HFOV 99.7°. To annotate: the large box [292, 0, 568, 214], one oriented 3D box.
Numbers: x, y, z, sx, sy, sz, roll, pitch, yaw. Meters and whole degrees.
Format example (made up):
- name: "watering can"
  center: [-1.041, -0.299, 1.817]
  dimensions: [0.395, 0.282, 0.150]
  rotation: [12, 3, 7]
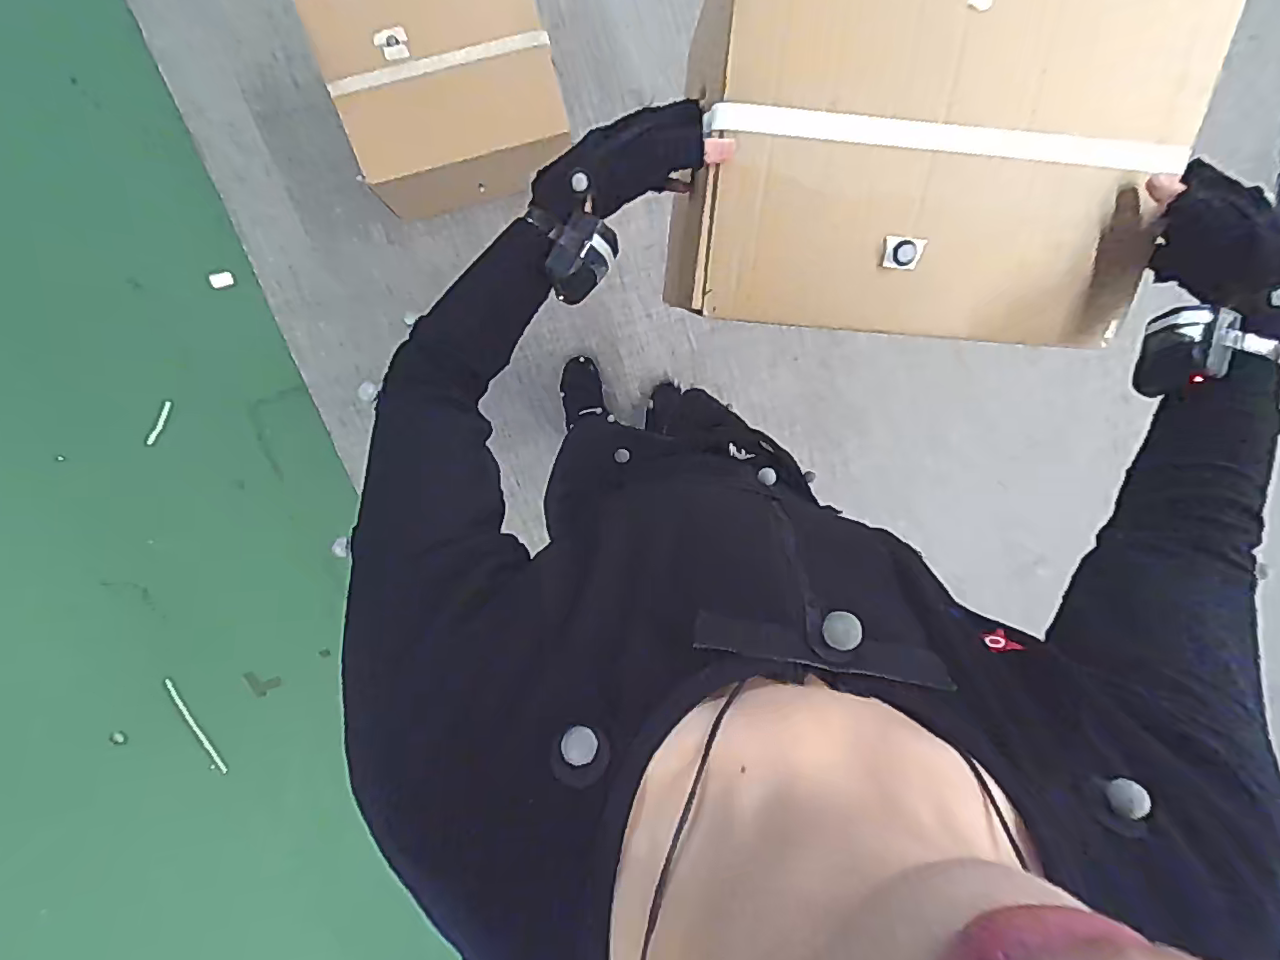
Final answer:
- name: "large box"
  center: [-0.392, -0.793, 1.117]
  dimensions: [0.408, 0.320, 0.320]
  rotation: [-19, 106, -6]
